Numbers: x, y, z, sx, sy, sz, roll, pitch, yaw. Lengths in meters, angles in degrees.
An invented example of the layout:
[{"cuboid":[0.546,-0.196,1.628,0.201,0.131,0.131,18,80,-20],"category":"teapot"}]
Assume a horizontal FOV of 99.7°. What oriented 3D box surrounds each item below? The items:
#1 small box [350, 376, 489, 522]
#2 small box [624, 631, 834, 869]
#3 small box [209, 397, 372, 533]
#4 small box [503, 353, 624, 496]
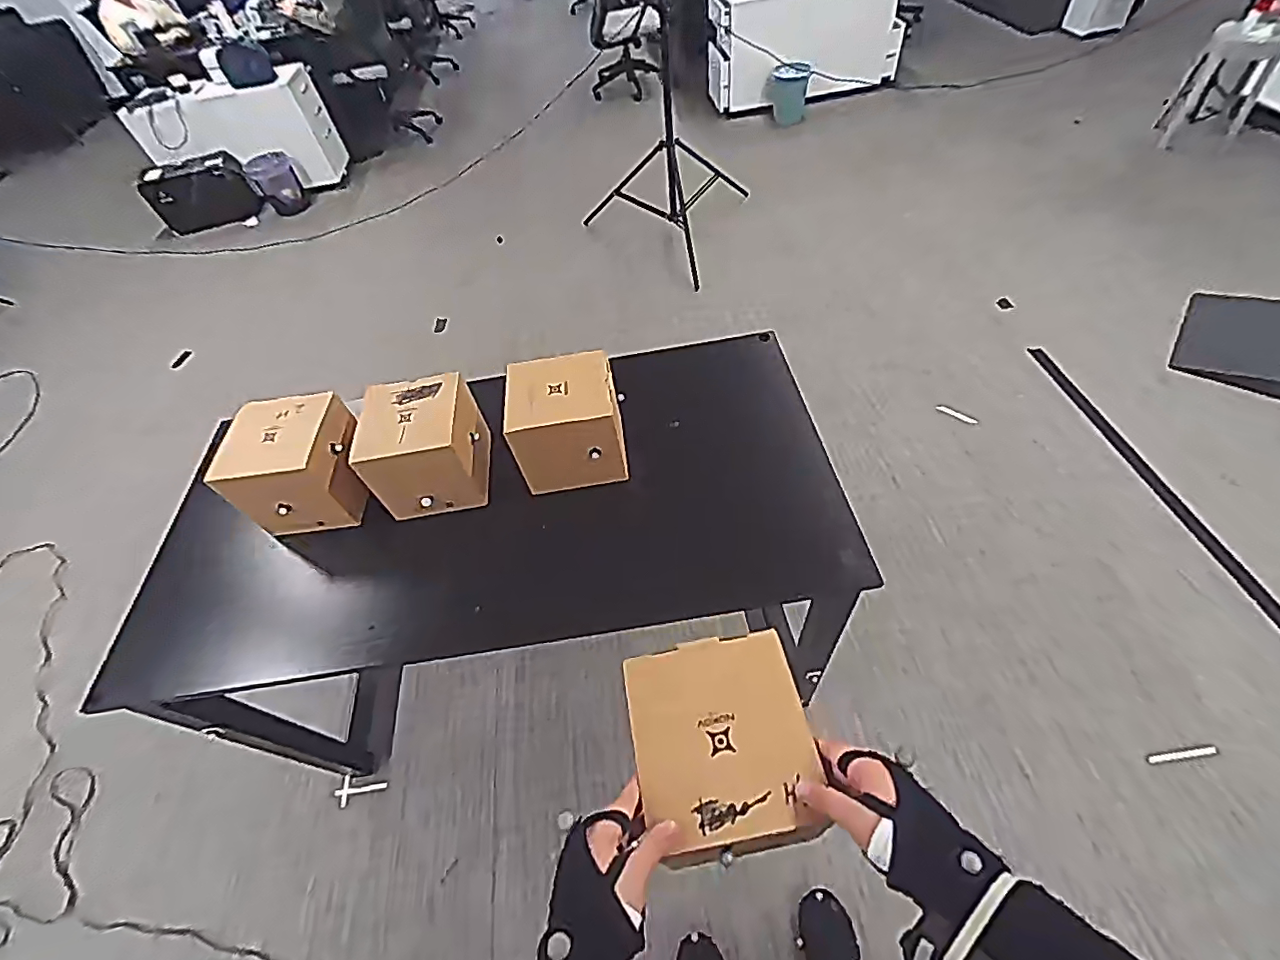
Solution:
[{"cuboid":[-0.371,-0.051,0.947,0.168,0.176,0.179,-10,53,0],"category":"small box"},{"cuboid":[0.083,0.288,0.572,0.168,0.176,0.179,-12,51,0],"category":"small box"},{"cuboid":[-0.593,-0.019,0.955,0.168,0.176,0.179,-7,52,2],"category":"small box"},{"cuboid":[-0.126,-0.092,0.947,0.179,0.176,0.168,-10,51,2],"category":"small box"}]
